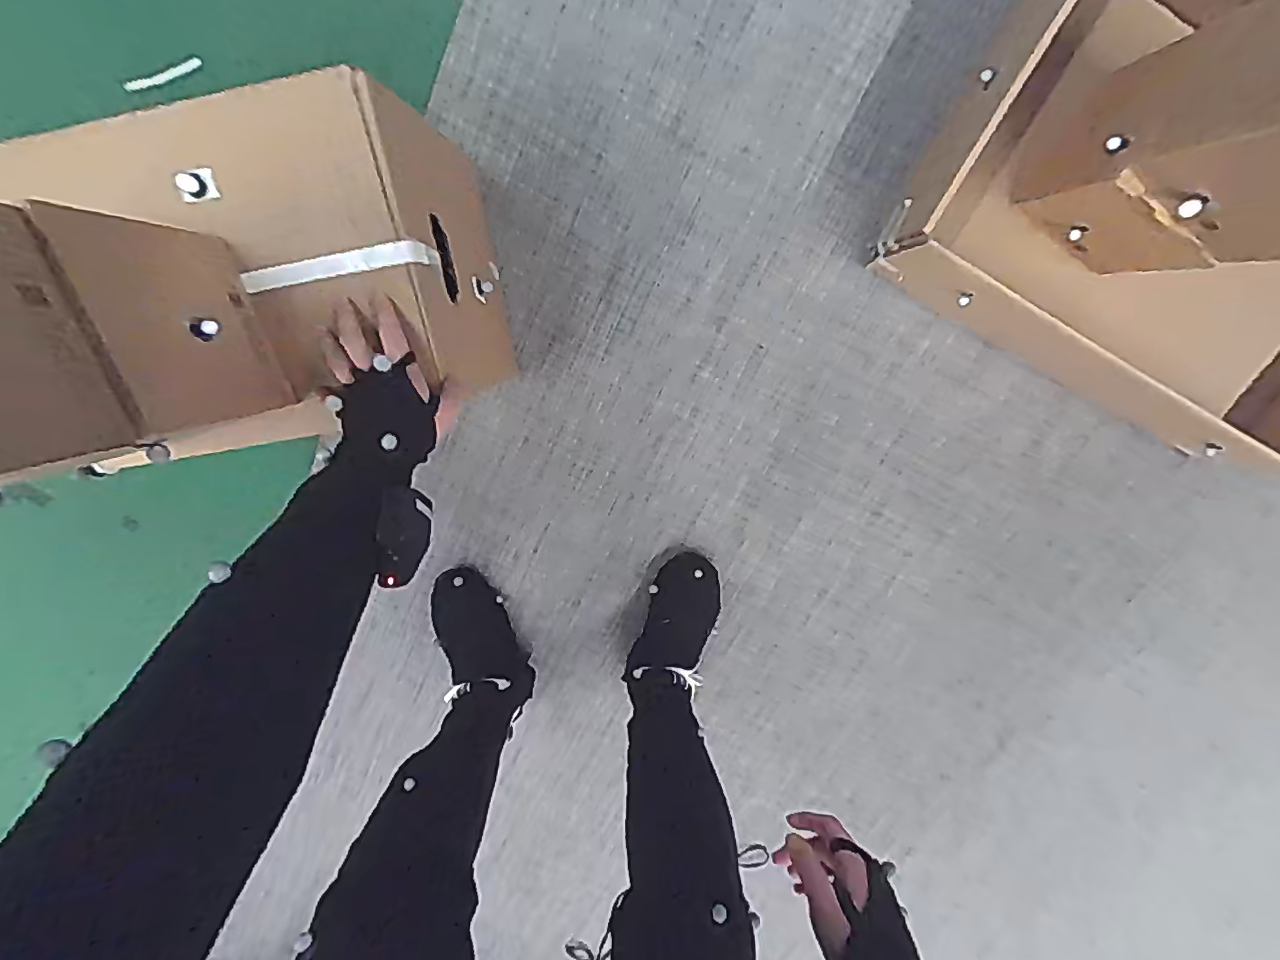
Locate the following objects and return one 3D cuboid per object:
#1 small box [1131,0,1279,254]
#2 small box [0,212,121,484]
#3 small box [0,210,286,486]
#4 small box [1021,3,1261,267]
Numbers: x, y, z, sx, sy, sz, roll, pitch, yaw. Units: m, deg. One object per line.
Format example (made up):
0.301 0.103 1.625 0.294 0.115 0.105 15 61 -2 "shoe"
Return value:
0.600 -0.320 0.463 0.168 0.176 0.179 33 106 -10 "small box"
-0.464 -0.061 0.308 0.179 0.176 0.168 -13 105 5 "small box"
-0.449 -0.109 0.464 0.179 0.176 0.168 -14 105 6 "small box"
0.598 -0.367 0.619 0.168 0.176 0.179 30 107 -10 "small box"
